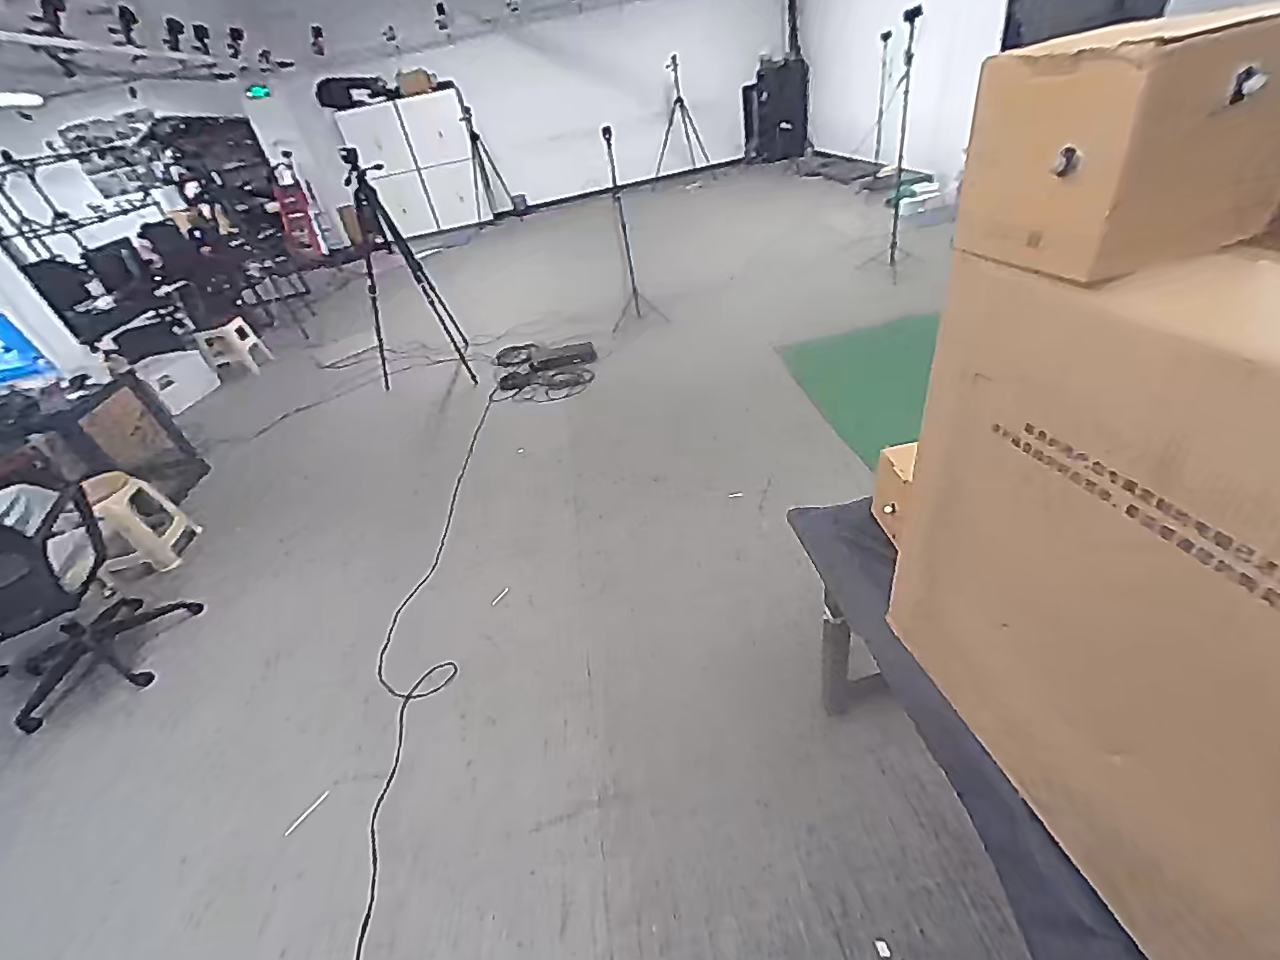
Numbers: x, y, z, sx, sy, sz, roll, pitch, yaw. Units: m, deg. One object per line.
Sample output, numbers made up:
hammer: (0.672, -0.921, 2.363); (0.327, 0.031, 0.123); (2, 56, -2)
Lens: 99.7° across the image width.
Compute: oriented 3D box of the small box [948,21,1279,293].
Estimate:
small box: (0.409, -0.283, 0.488); (0.179, 0.176, 0.168); (-15, 36, -5)
